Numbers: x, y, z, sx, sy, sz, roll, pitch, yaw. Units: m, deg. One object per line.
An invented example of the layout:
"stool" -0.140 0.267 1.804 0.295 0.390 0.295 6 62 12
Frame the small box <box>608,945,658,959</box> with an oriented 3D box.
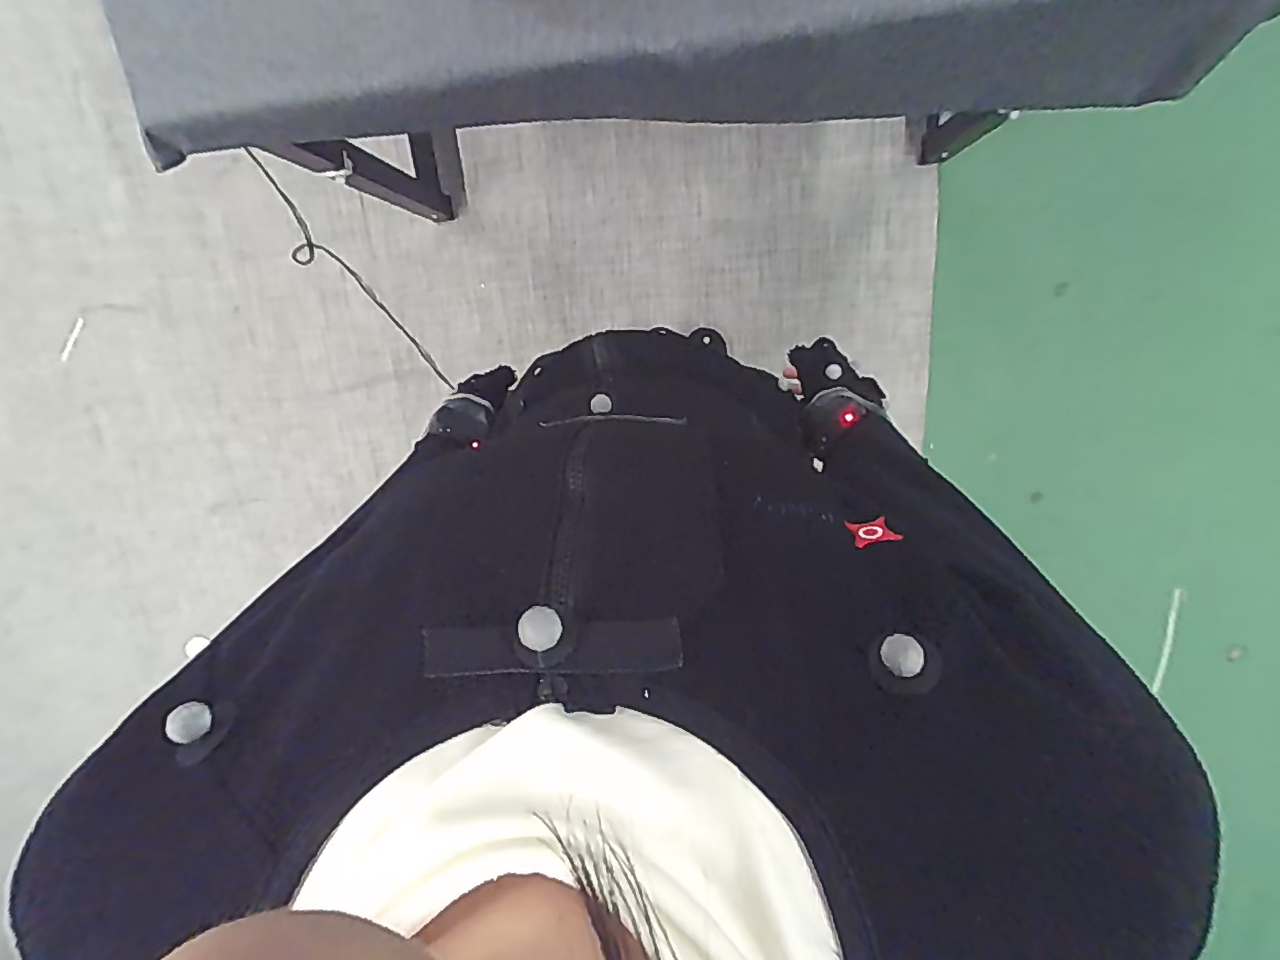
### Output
"small box" -0.025 1.760 1.874 0.179 0.176 0.168 -4 106 4
